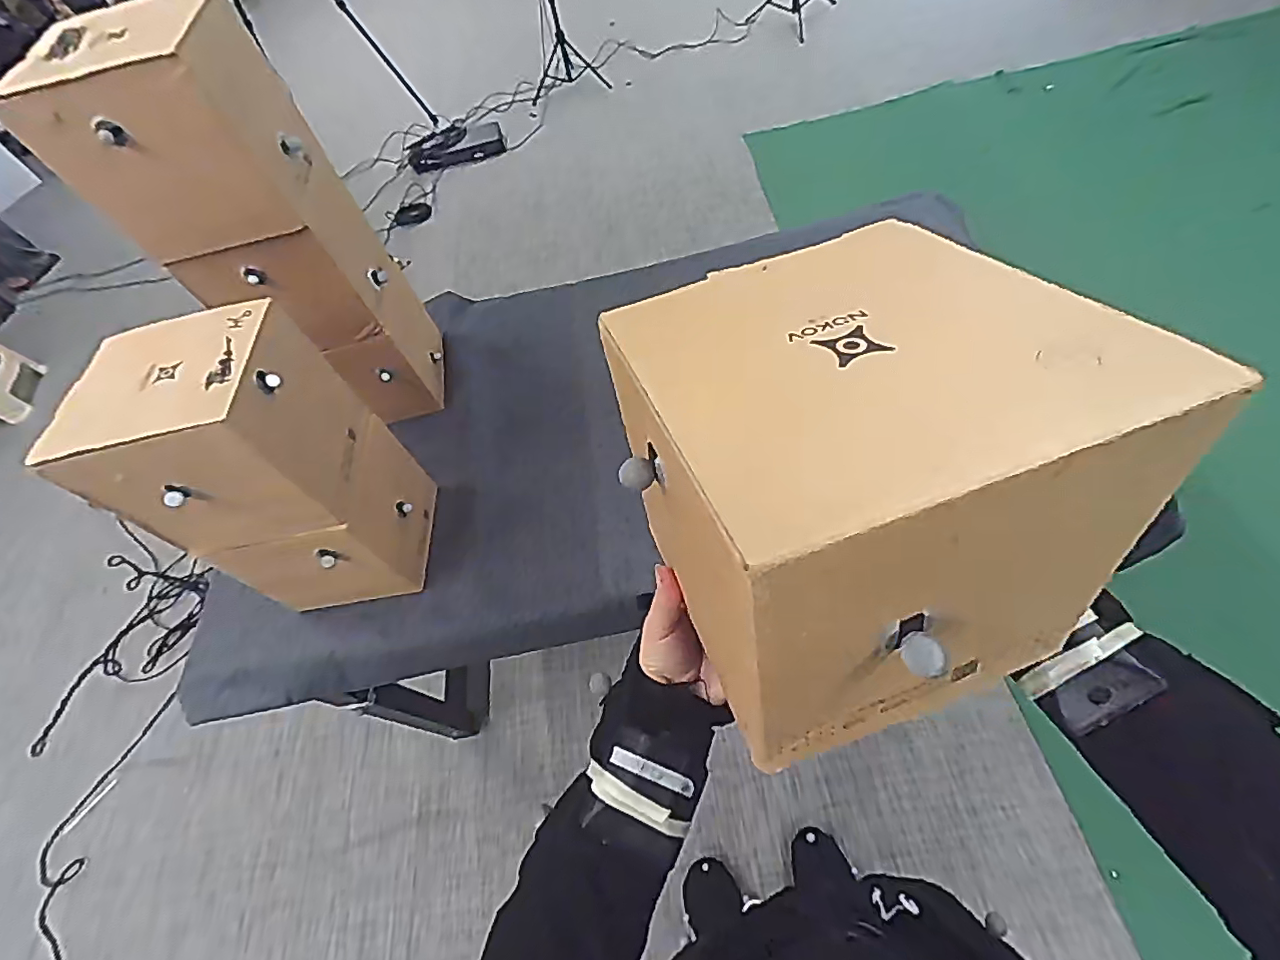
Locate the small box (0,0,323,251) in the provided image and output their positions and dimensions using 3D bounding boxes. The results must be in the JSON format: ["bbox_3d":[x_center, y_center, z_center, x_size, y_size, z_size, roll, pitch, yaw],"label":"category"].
[{"bbox_3d":[-0.472,-0.367,0.558,0.179,0.176,0.168,-13,60,2],"label":"small box"}]

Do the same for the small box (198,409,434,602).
[{"bbox_3d":[-0.381,0.038,0.678,0.179,0.176,0.168,-10,55,4],"label":"small box"}]

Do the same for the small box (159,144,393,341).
[{"bbox_3d":[-0.452,-0.292,0.703,0.179,0.176,0.168,-14,60,0],"label":"small box"}]

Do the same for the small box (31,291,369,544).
[{"bbox_3d":[-0.411,-0.053,0.545,0.179,0.176,0.168,-13,56,3],"label":"small box"}]

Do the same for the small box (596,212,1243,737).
[{"bbox_3d":[0.094,0.000,0.267,0.168,0.176,0.179,-20,43,-5],"label":"small box"}]
